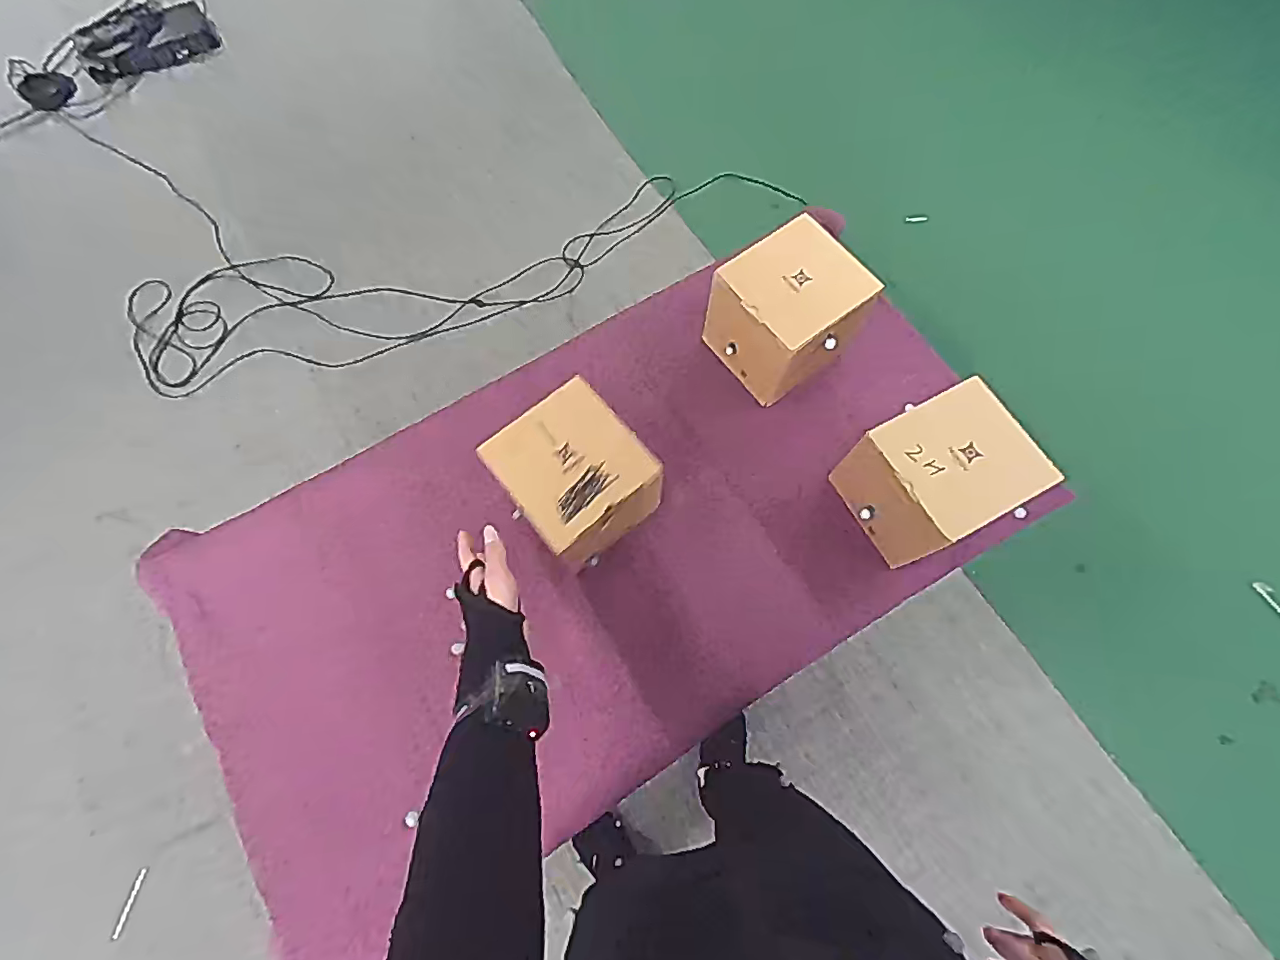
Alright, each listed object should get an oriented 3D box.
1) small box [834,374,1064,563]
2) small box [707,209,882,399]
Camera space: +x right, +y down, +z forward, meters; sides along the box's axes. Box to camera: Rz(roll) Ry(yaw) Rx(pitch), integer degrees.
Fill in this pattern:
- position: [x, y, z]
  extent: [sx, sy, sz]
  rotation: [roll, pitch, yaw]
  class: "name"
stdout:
- position: [0.397, -0.007, 0.732]
  extent: [0.179, 0.176, 0.168]
  rotation: [-27, 72, -6]
  class: "small box"
- position: [0.218, -0.257, 0.820]
  extent: [0.179, 0.176, 0.168]
  rotation: [-36, 75, -9]
  class: "small box"
